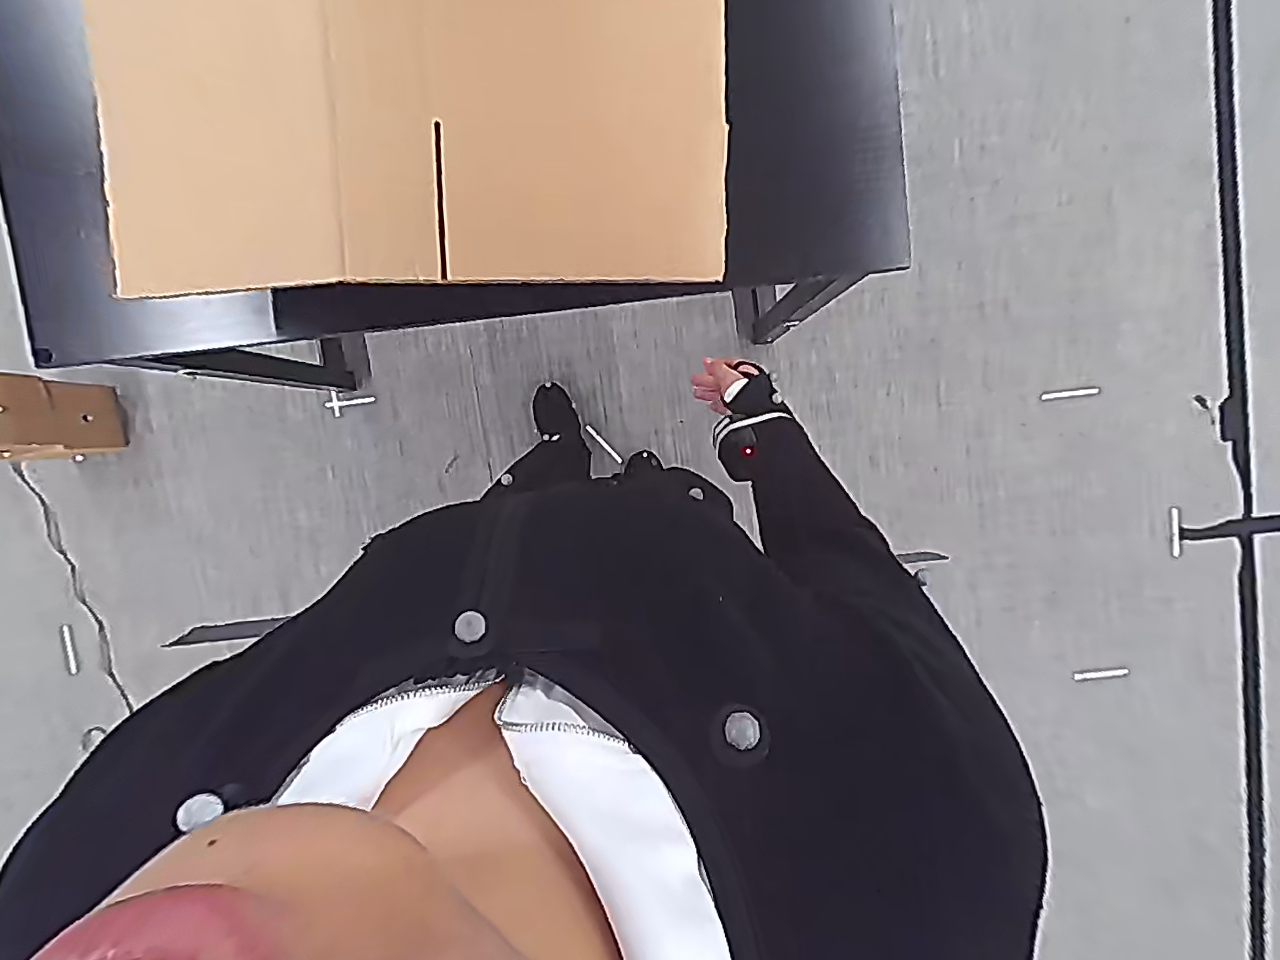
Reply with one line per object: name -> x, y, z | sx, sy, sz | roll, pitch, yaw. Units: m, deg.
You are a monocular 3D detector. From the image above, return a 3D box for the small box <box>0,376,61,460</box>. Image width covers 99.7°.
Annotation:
small box -> -1.499, -0.139, 1.234 | 0.168, 0.176, 0.179 | -13, 94, 0

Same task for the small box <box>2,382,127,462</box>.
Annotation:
small box -> -1.498, -0.146, 1.397 | 0.168, 0.176, 0.179 | -11, 95, 1
